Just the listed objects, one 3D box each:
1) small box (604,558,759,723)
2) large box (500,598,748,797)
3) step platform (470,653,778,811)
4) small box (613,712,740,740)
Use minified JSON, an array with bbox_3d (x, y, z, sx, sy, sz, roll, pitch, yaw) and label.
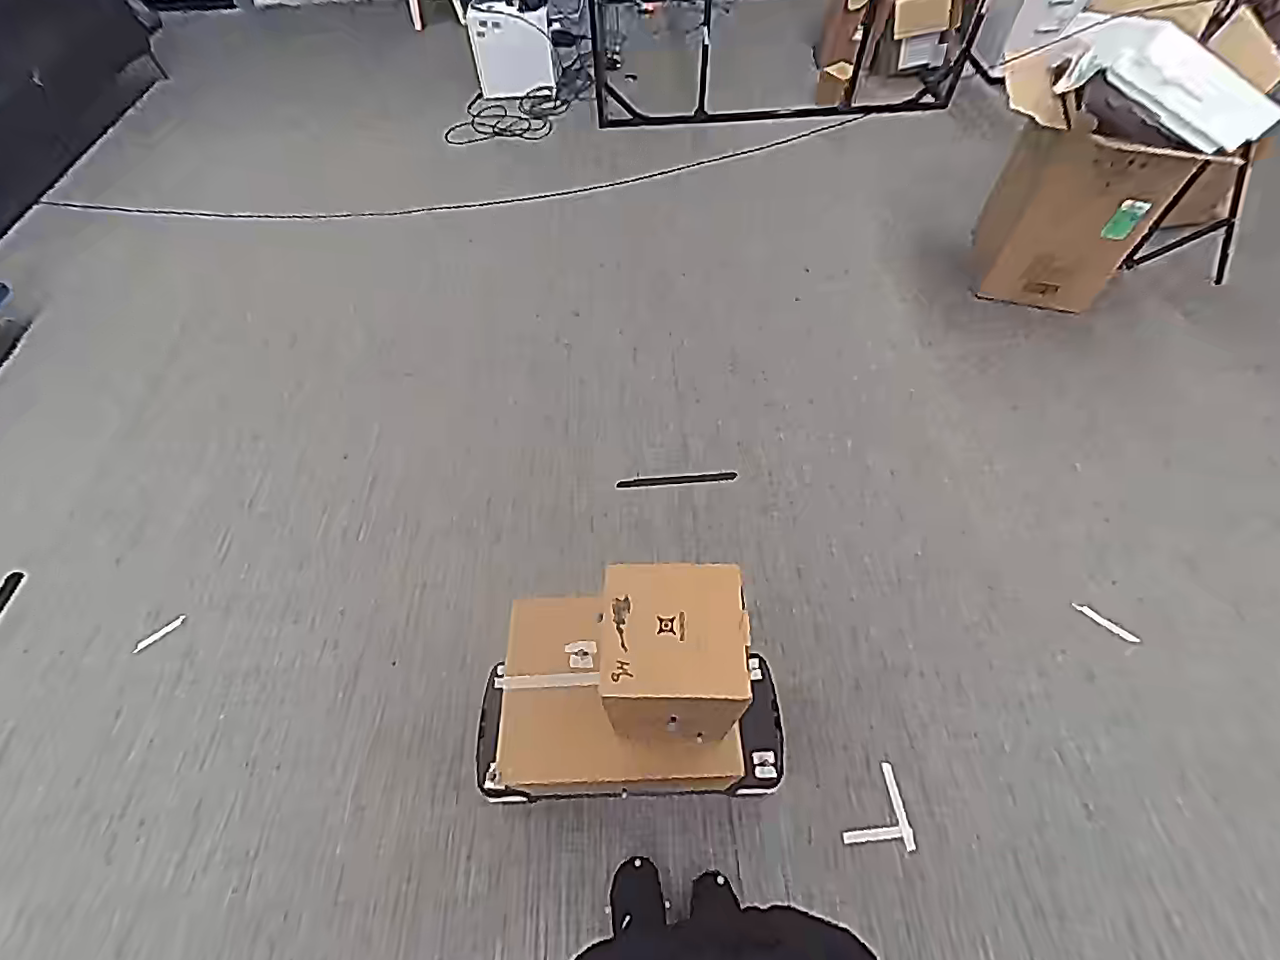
[{"bbox_3d":[0.049,0.215,0.711,0.179,0.176,0.168,1,56,2],"label":"small box"},{"bbox_3d":[-0.023,0.430,1.062,0.408,0.320,0.320,-3,56,1],"label":"large box"},{"bbox_3d":[-0.032,0.576,1.251,0.684,0.204,0.286,1,57,4],"label":"step platform"},{"bbox_3d":[0.055,0.305,0.848,0.179,0.176,0.168,0,56,3],"label":"small box"}]
